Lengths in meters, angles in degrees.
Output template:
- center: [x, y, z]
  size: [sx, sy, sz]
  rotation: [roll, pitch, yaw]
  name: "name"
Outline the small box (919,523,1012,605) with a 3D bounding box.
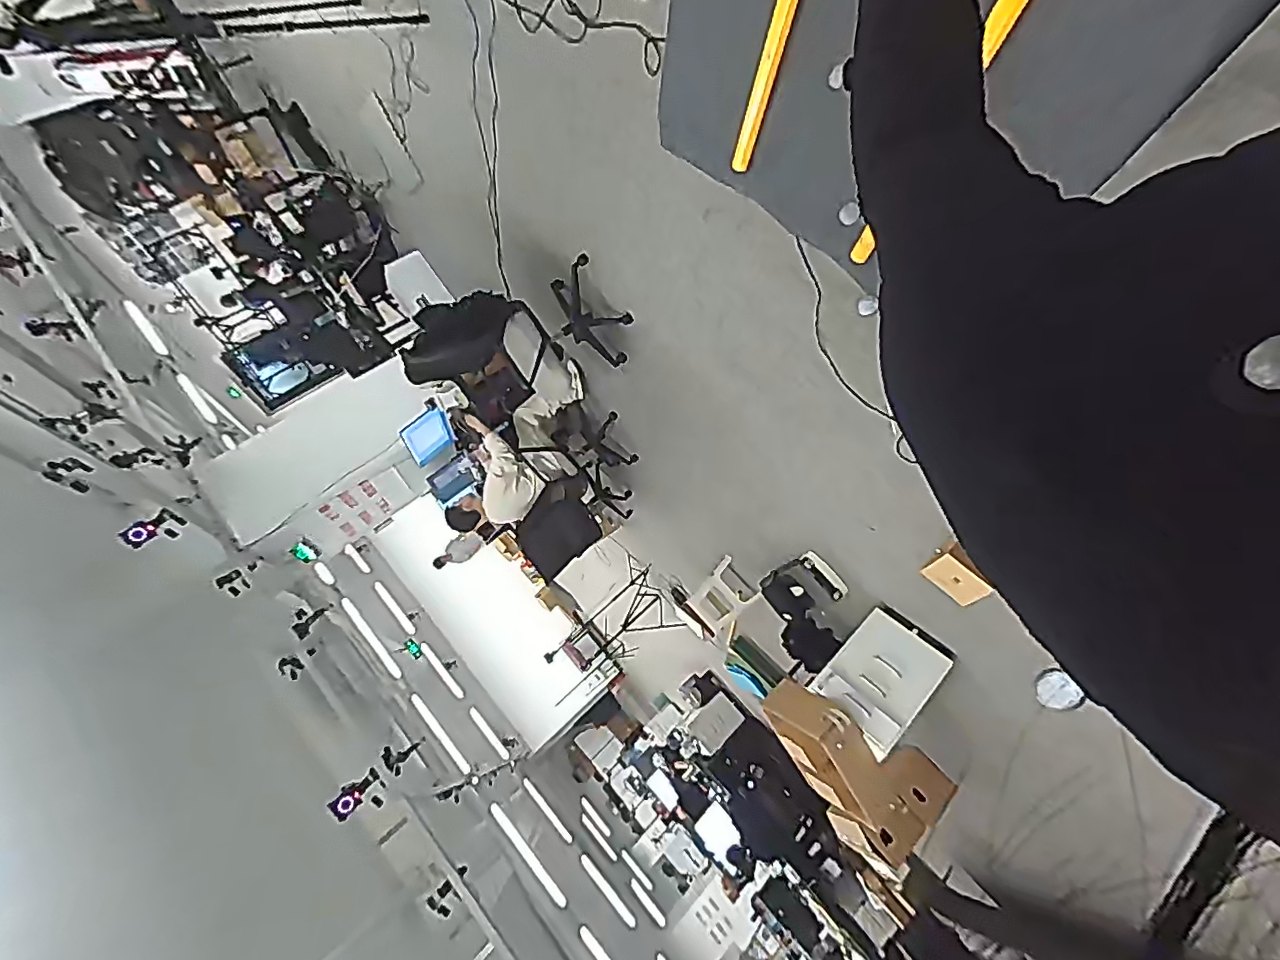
- center: [1.047, 0.266, 1.731]
  size: [0.168, 0.176, 0.179]
  rotation: [43, 158, 18]
  name: "small box"
